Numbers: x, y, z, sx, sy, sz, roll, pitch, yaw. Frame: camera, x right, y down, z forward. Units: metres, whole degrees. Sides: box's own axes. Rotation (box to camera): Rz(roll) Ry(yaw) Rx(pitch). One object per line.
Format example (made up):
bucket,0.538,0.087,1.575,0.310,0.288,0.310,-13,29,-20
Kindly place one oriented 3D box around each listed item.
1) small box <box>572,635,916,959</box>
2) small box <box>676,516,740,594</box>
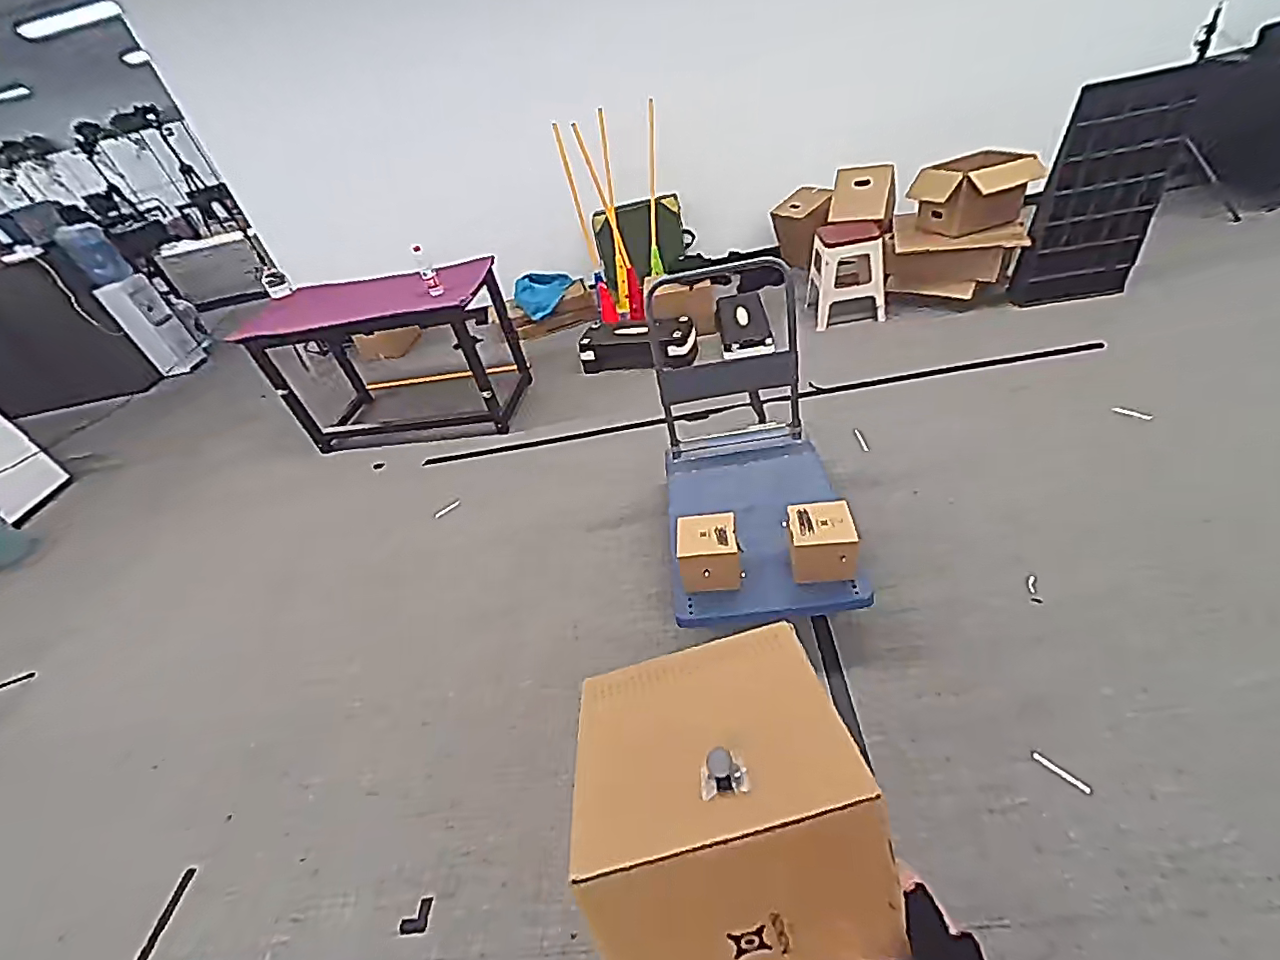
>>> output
small box,0.063,0.242,0.387,0.179,0.168,0.176,-17,18,1
small box,0.211,0.231,1.652,0.179,0.176,0.168,-6,39,11
